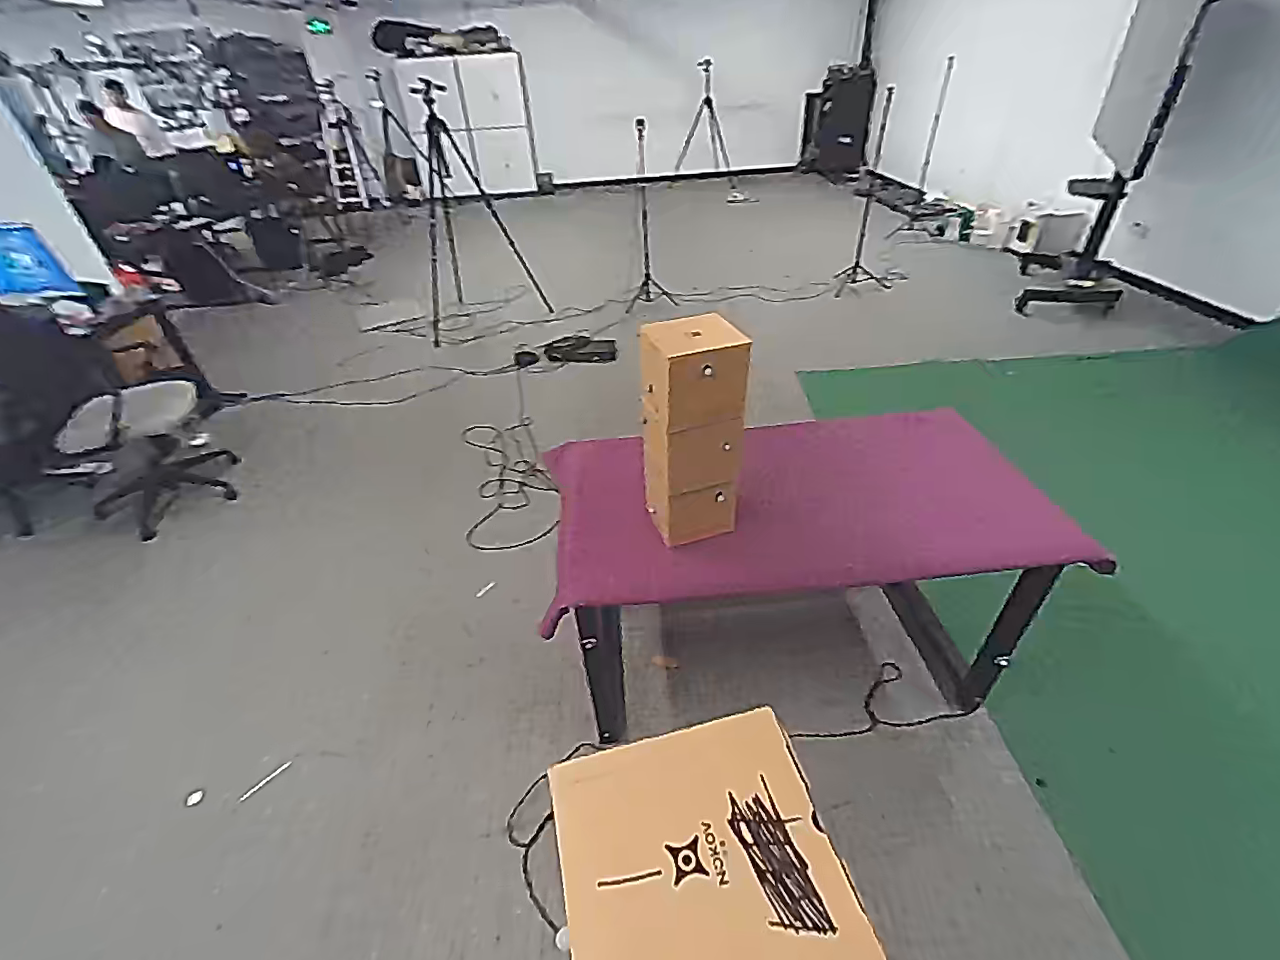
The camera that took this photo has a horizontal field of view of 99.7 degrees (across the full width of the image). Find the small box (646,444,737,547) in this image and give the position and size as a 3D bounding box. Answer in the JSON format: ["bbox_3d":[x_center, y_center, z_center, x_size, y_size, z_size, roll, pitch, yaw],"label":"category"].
[{"bbox_3d":[0.120,0.037,1.319,0.179,0.176,0.168,-13,38,-12],"label":"small box"}]

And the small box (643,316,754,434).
[{"bbox_3d":[0.112,-0.217,1.114,0.179,0.176,0.168,-14,40,-14],"label":"small box"}]

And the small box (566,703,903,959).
[{"bbox_3d":[0.048,0.297,0.396,0.179,0.176,0.168,-10,39,-10],"label":"small box"}]
